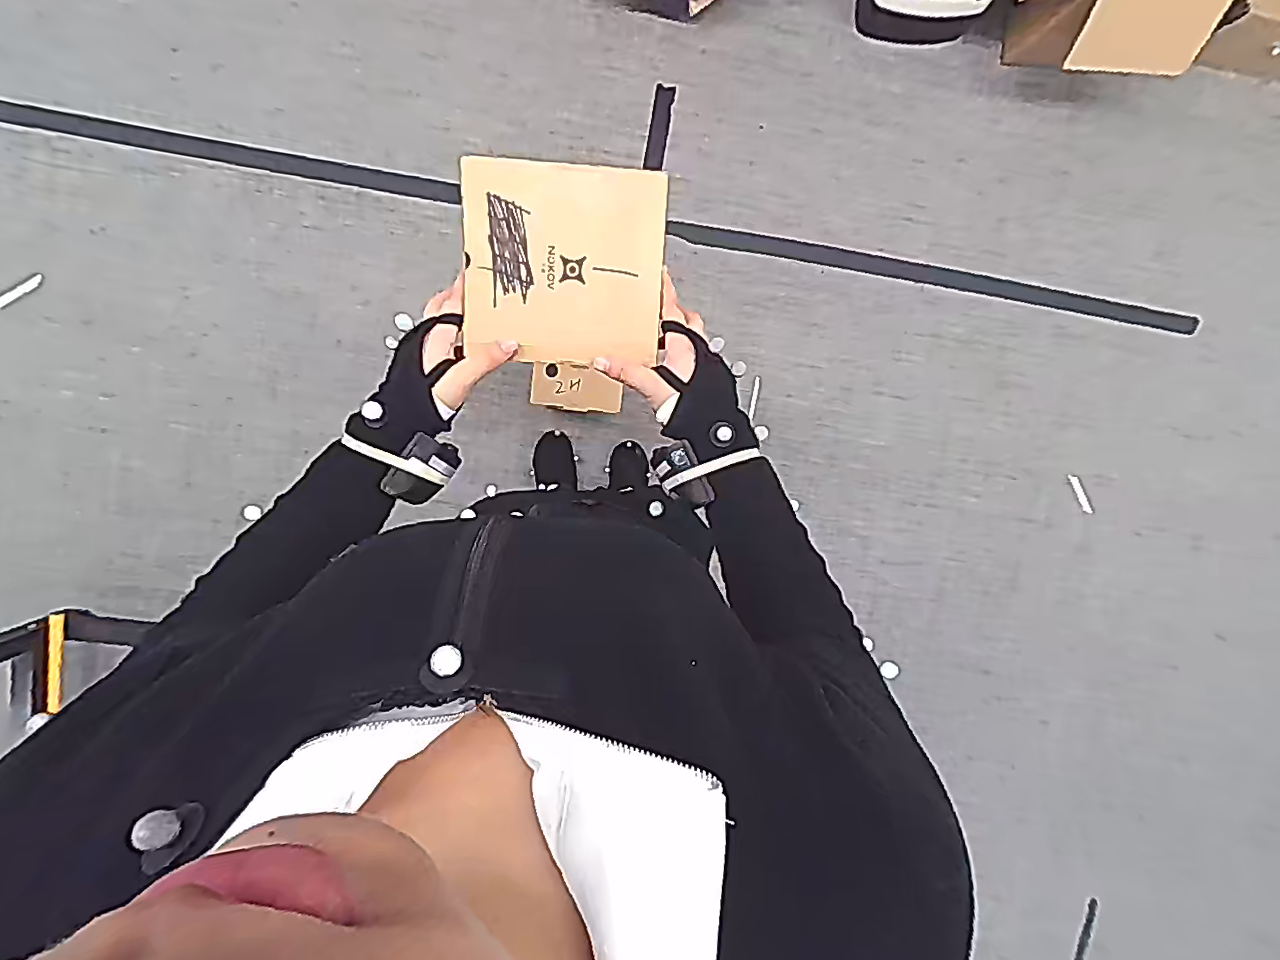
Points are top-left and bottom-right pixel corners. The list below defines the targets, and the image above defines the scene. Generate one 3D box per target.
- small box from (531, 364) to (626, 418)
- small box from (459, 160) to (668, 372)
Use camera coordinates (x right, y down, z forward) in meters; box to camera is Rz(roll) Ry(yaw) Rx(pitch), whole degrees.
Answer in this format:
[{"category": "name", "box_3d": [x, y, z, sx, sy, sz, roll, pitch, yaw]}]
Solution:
[{"category": "small box", "box_3d": [-0.110, -0.218, 1.049, 0.168, 0.176, 0.179, 7, 97, -3]}, {"category": "small box", "box_3d": [-0.071, -0.198, 0.545, 0.179, 0.176, 0.168, 3, 103, -4]}]
